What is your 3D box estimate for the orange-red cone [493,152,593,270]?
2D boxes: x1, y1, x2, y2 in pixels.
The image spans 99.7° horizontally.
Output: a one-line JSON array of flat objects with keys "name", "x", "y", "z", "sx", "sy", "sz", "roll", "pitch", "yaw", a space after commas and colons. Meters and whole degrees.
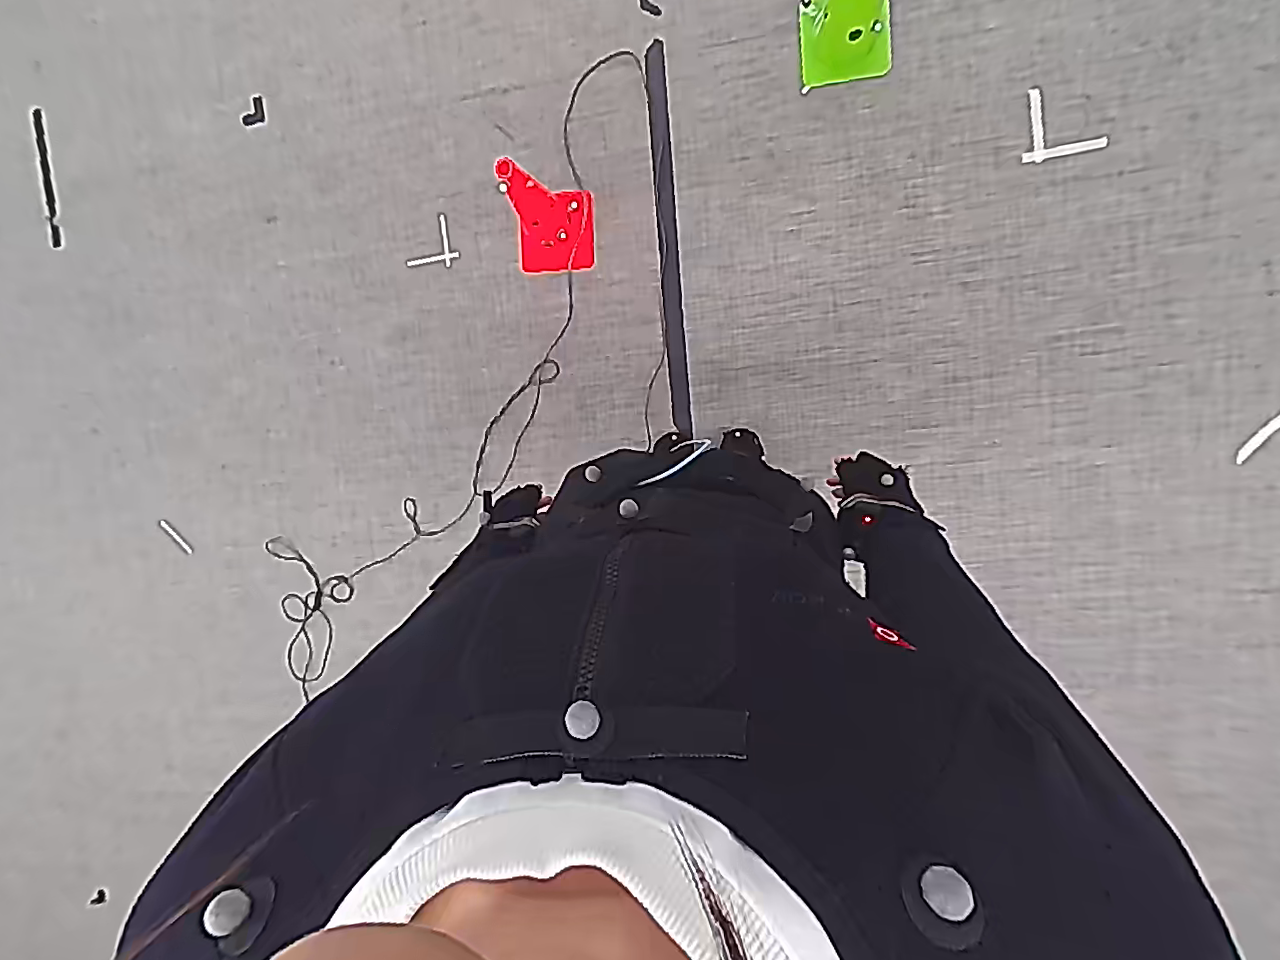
[{"name": "orange-red cone", "x": -0.247, "y": -0.637, "z": 1.234, "sx": 0.199, "sy": 0.360, "sz": 0.198, "roll": 0, "pitch": 94, "yaw": 10}]

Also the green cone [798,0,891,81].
[{"name": "green cone", "x": 0.453, "y": -1.026, "z": 1.088, "sx": 0.202, "sy": 0.368, "sz": 0.200, "roll": -4, "pitch": 95, "yaw": 8}]
